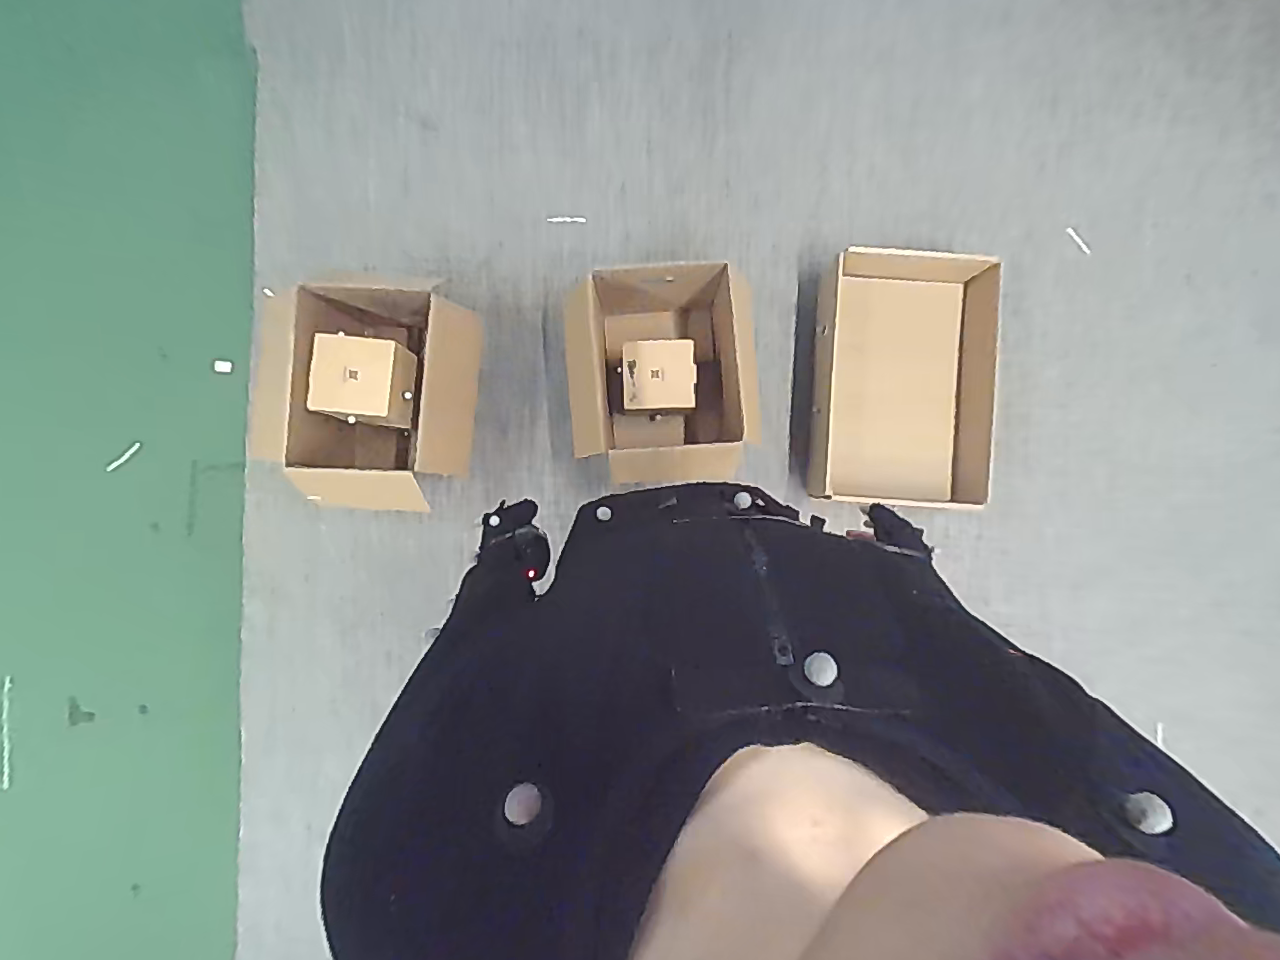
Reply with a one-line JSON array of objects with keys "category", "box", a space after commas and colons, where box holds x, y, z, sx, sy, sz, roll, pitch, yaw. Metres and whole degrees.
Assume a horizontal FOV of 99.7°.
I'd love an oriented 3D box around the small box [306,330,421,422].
[{"category": "small box", "box": [-0.616, -0.228, 1.226, 0.179, 0.176, 0.168, 5, 88, 0]}]
